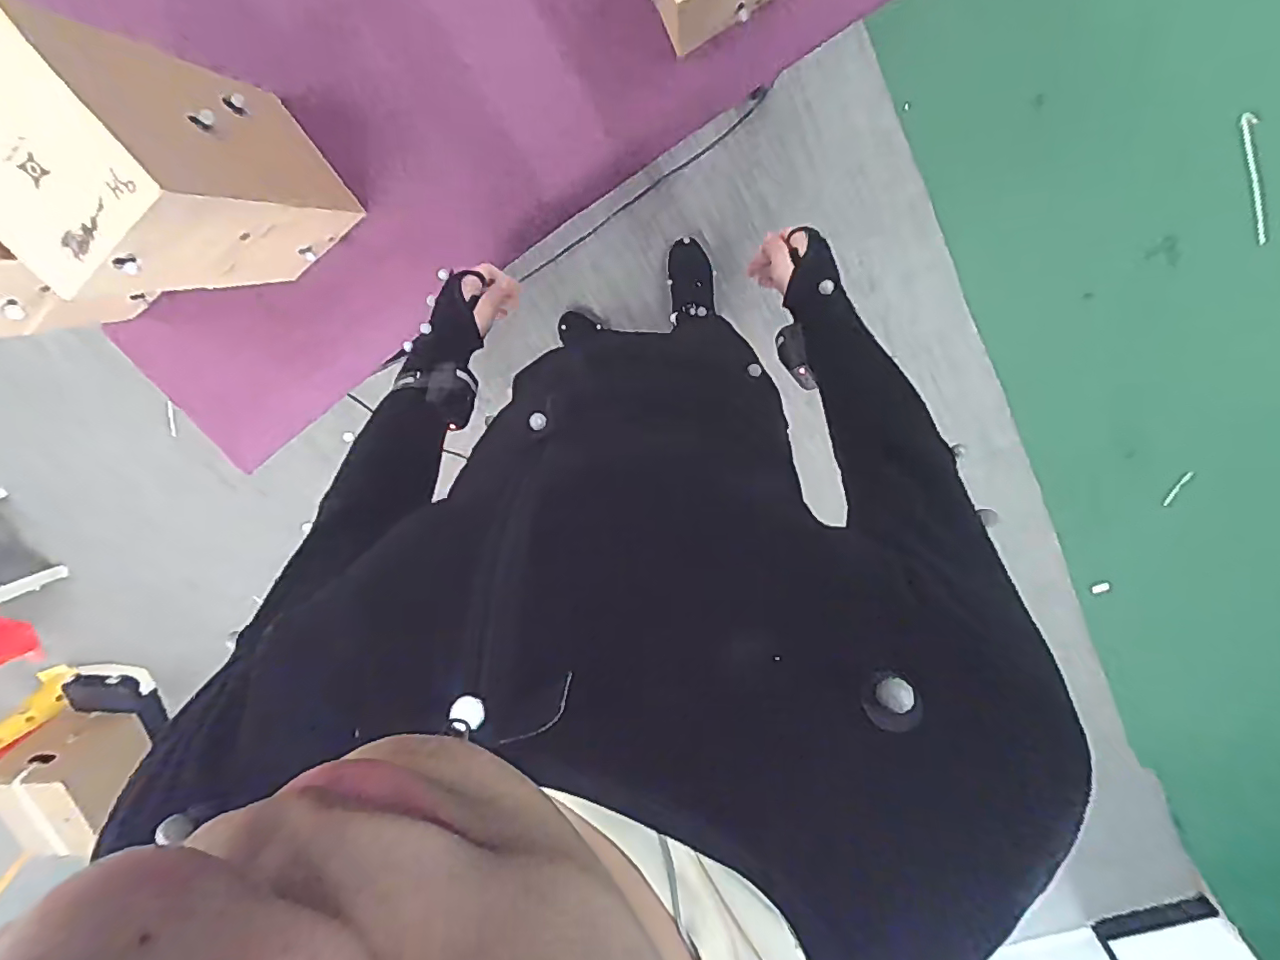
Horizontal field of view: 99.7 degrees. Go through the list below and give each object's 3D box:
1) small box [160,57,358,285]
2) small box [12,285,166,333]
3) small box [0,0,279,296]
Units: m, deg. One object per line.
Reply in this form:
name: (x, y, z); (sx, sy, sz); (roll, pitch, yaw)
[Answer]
small box: (-0.512, -0.374, 0.689); (0.168, 0.176, 0.179); (-30, 109, 16)
small box: (-0.785, -0.328, 0.729); (0.168, 0.176, 0.179); (-32, 109, 17)
small box: (-0.523, -0.309, 0.539); (0.168, 0.176, 0.179); (-31, 108, 17)
